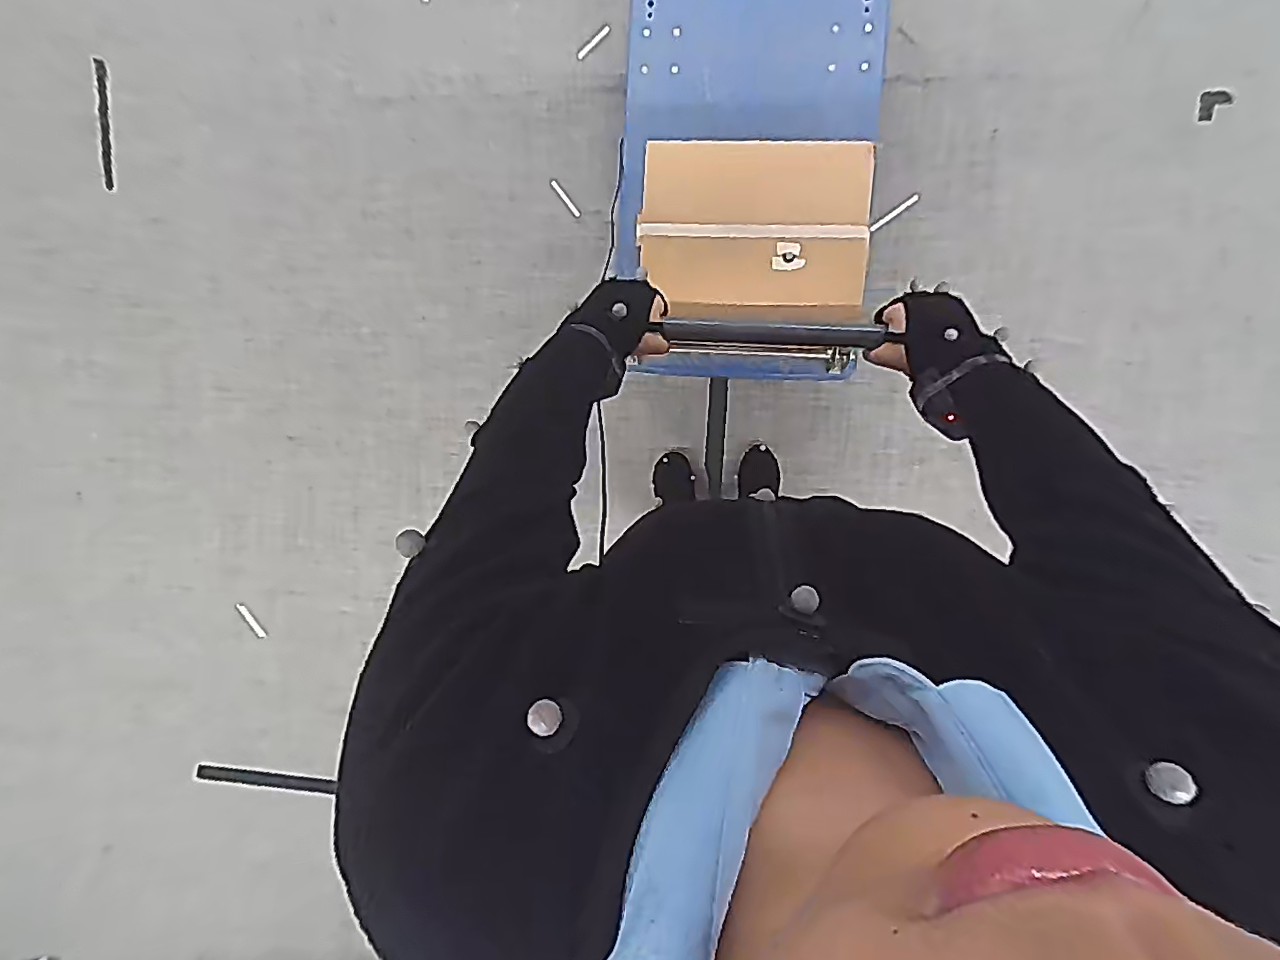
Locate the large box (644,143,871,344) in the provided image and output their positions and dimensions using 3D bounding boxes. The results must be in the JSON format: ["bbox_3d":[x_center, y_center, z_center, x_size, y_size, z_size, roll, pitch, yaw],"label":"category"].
[{"bbox_3d":[0.220,-0.467,1.137,0.408,0.320,0.320,3,96,5],"label":"large box"}]
